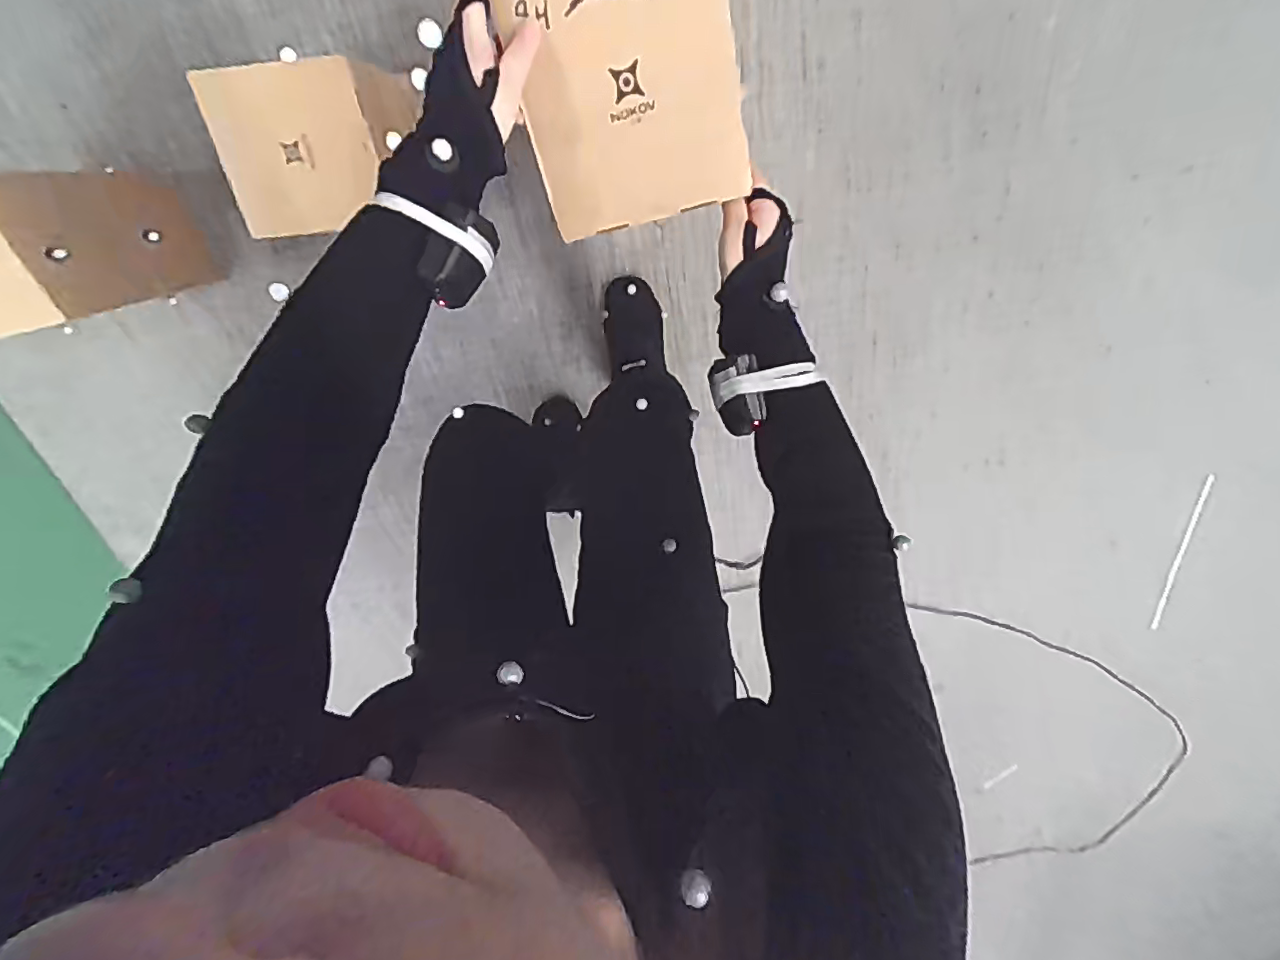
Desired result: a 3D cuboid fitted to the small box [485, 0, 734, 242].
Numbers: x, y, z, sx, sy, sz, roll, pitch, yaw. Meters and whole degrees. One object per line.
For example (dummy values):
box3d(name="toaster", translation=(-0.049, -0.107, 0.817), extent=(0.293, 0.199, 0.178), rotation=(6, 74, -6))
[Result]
box3d(name="small box", translation=(-0.010, -0.339, 0.490), extent=(0.168, 0.176, 0.179), rotation=(-9, 122, 11))

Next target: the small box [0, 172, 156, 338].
box3d(name="small box", translation=(-0.829, -0.305, 0.731), extent=(0.168, 0.176, 0.179), rotation=(-11, 119, 3))

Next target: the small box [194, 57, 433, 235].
box3d(name="small box", translation=(-0.391, -0.411, 0.686), extent=(0.179, 0.176, 0.168), rotation=(-5, 119, 1))

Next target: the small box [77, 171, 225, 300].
box3d(name="small box", translation=(-0.833, -0.387, 0.873), extent=(0.168, 0.176, 0.179), rotation=(-10, 118, 3))
